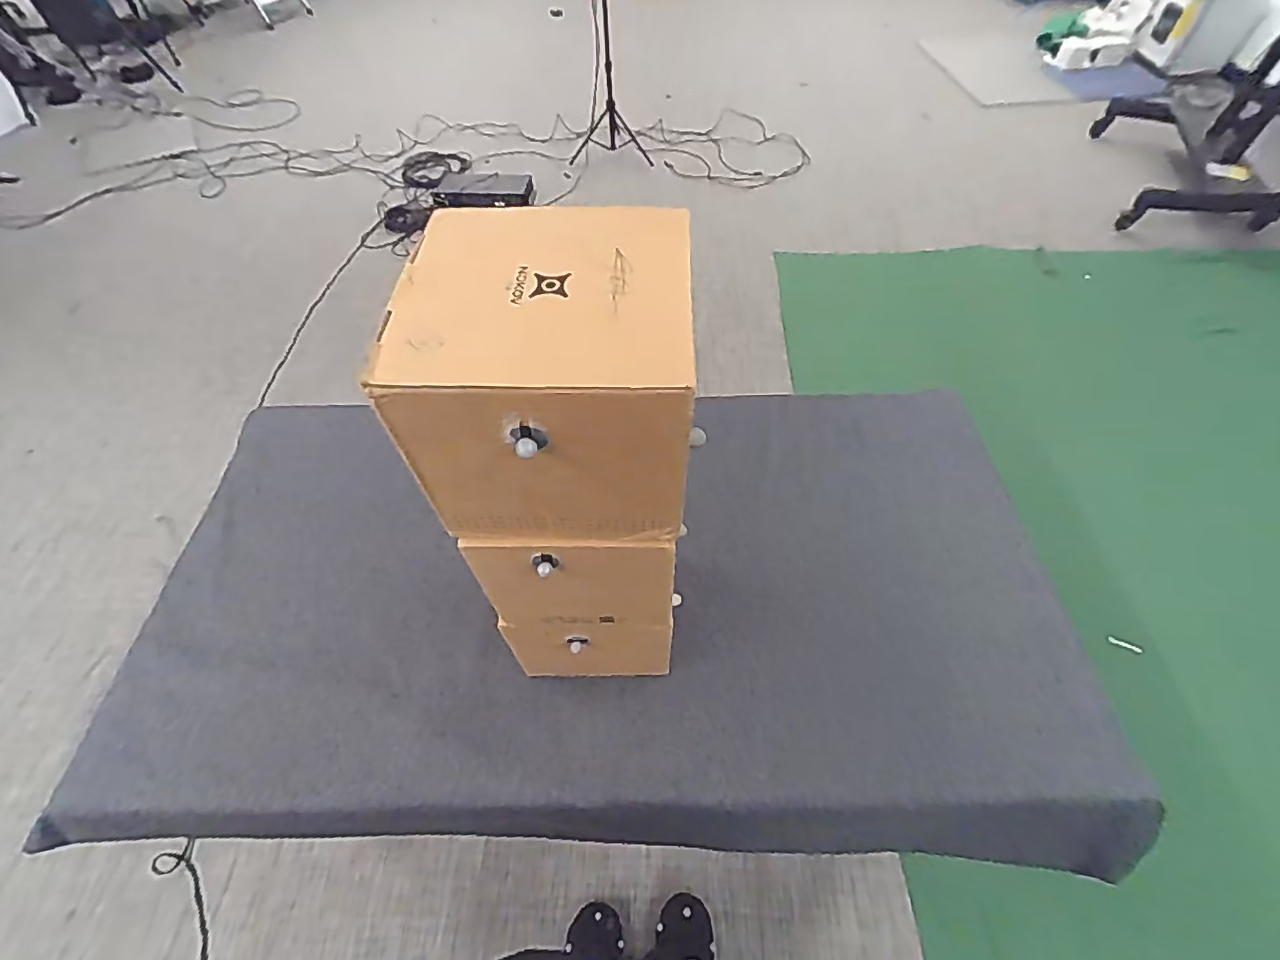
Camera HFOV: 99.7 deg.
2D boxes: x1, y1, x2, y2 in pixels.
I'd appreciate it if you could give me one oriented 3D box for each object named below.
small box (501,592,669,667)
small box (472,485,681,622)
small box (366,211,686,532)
[{"bbox_3d":[-0.054,0.122,0.659,0.179,0.176,0.168,0,54,0],"label":"small box"},{"bbox_3d":[-0.051,0.025,0.530,0.168,0.176,0.179,-1,55,-1],"label":"small box"},{"bbox_3d":[-0.058,-0.071,0.397,0.179,0.176,0.168,1,56,1],"label":"small box"}]
